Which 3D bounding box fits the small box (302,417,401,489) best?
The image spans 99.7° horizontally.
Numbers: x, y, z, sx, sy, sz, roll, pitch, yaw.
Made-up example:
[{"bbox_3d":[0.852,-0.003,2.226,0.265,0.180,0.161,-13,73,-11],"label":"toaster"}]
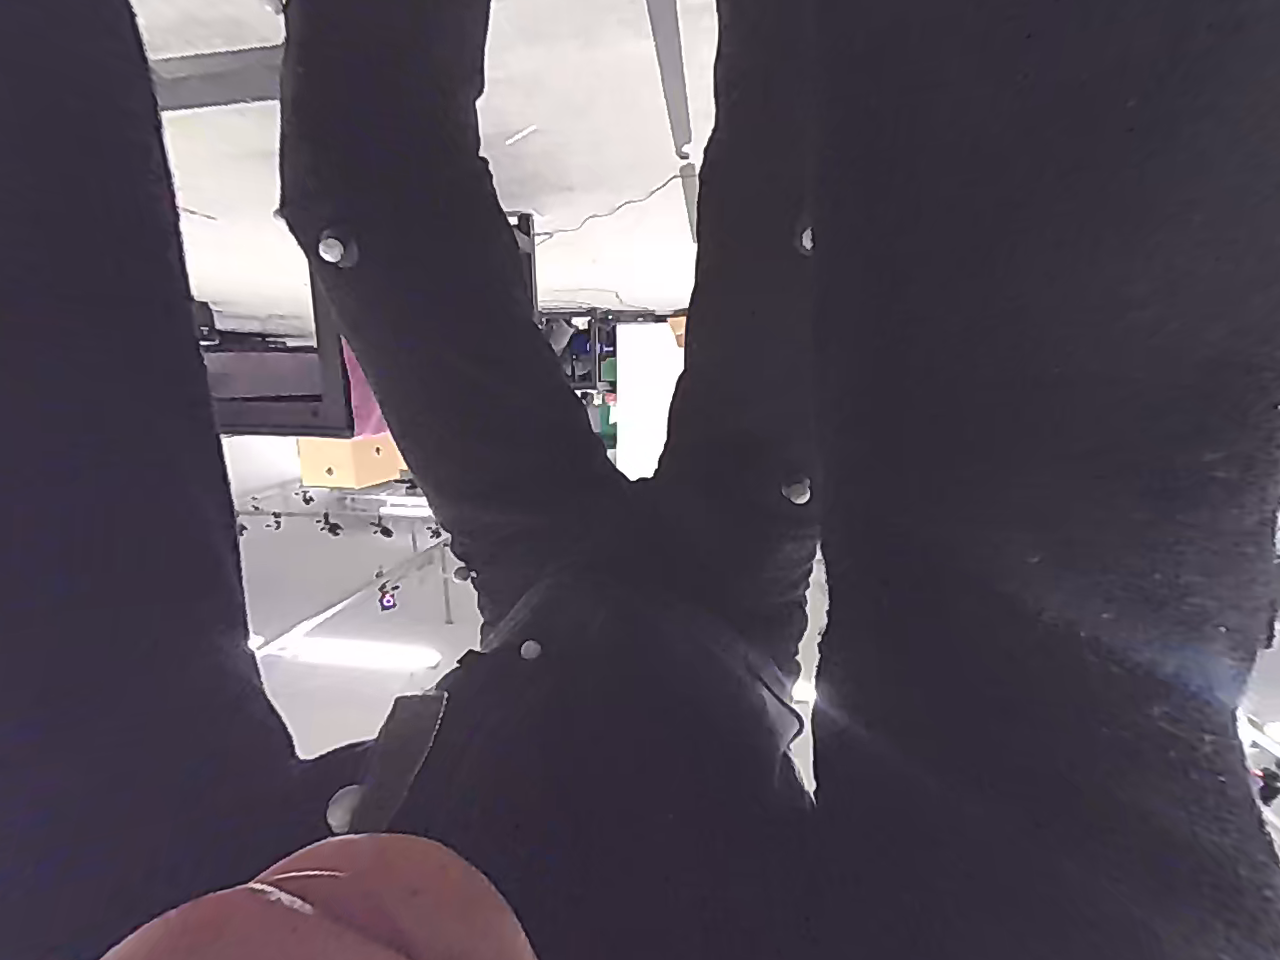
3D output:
[{"bbox_3d":[-0.787,-0.078,1.475,0.179,0.176,0.168,3,-169,15],"label":"small box"}]
